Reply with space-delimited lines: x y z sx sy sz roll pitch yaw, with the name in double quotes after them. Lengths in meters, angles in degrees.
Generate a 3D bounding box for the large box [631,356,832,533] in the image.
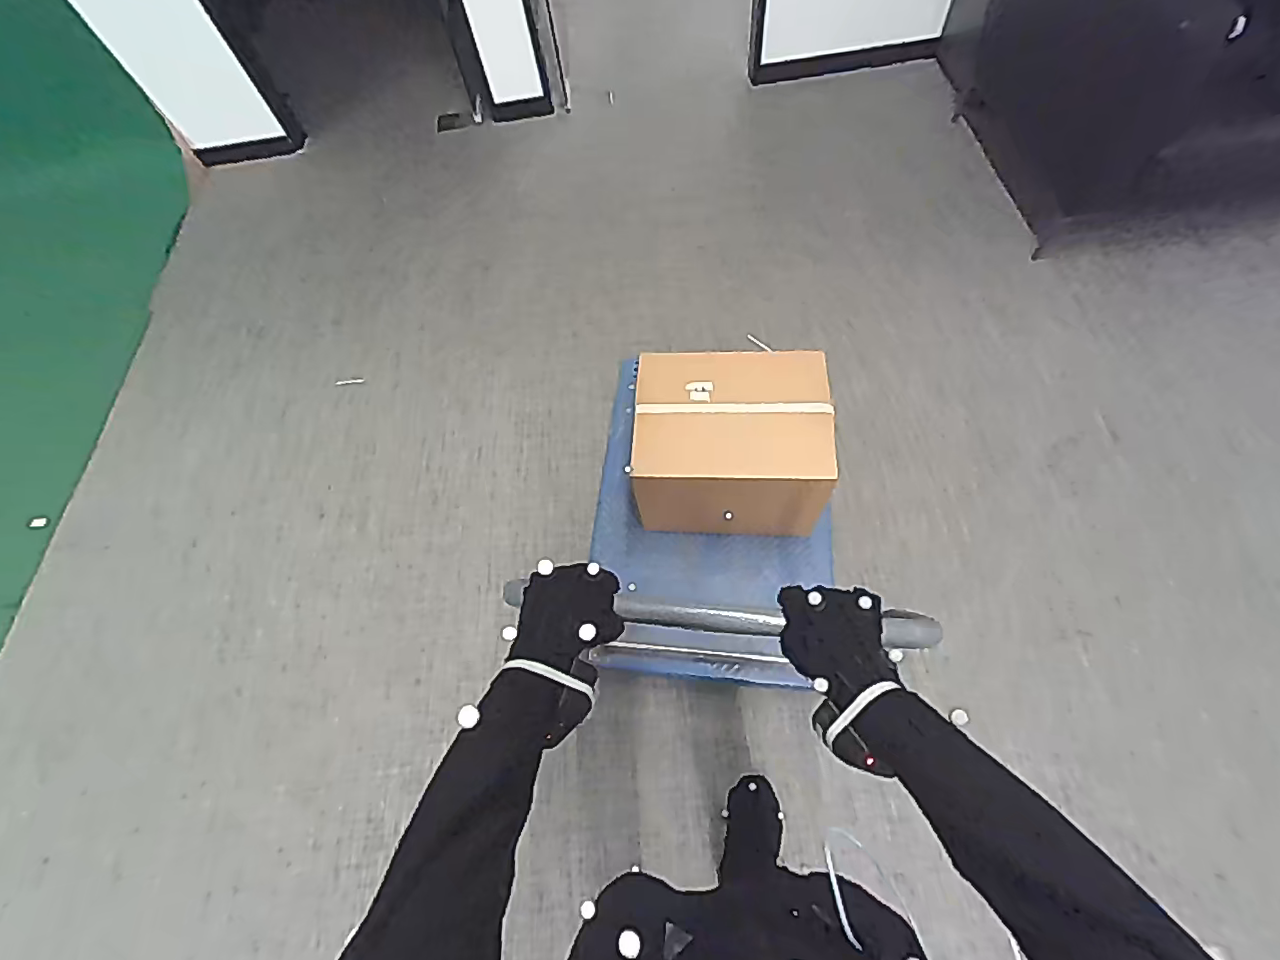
0.202 -0.067 1.270 0.408 0.320 0.320 0 63 7 "large box"
